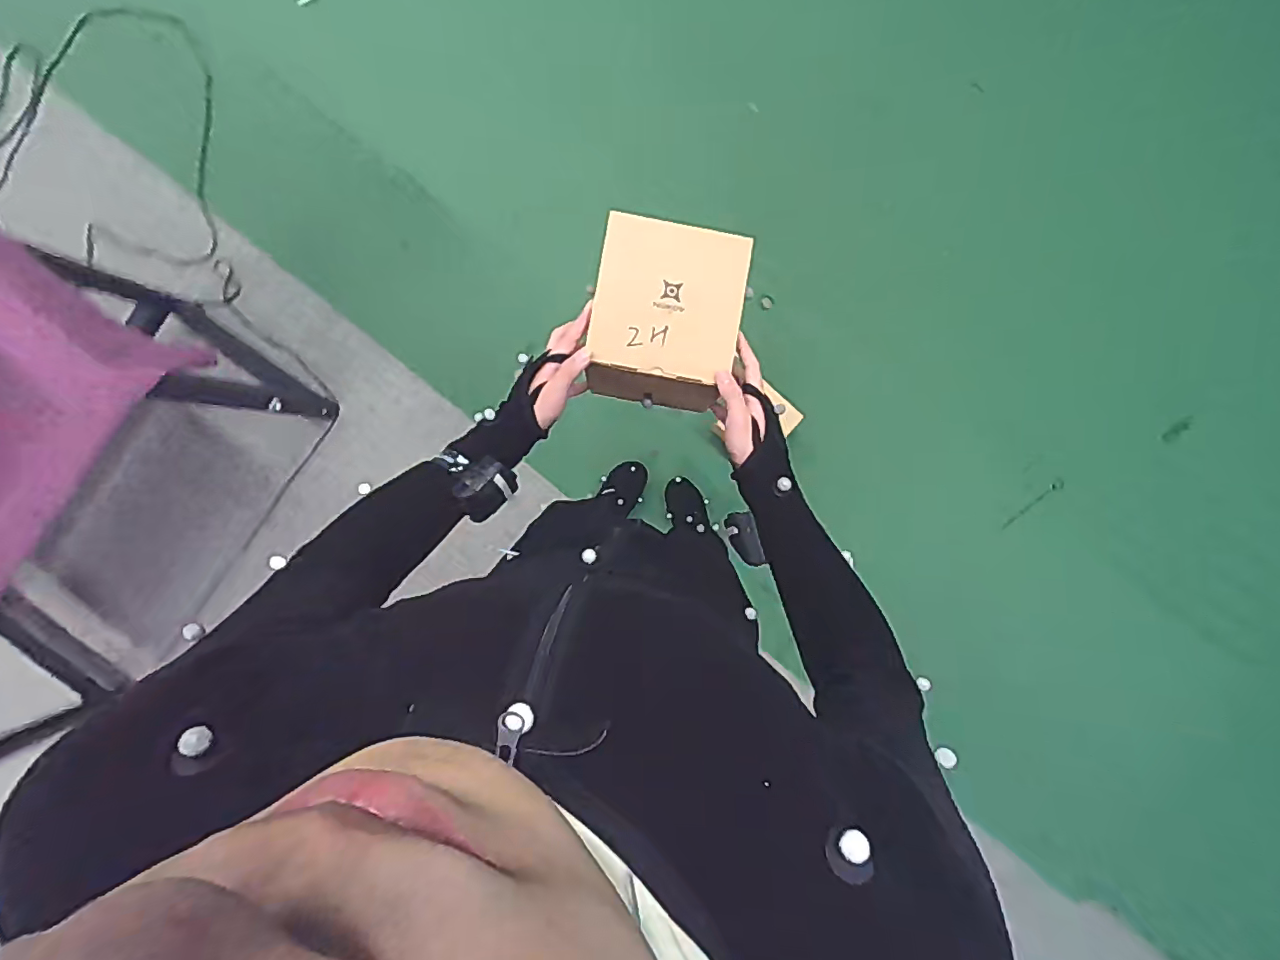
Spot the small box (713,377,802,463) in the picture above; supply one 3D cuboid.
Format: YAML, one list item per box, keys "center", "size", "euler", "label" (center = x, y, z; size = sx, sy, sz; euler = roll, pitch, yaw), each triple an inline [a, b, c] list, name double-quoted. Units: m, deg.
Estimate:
- center: [0.324, -0.167, 1.540]
  size: [0.168, 0.176, 0.179]
  euler: [42, 93, -1]
  label: "small box"
